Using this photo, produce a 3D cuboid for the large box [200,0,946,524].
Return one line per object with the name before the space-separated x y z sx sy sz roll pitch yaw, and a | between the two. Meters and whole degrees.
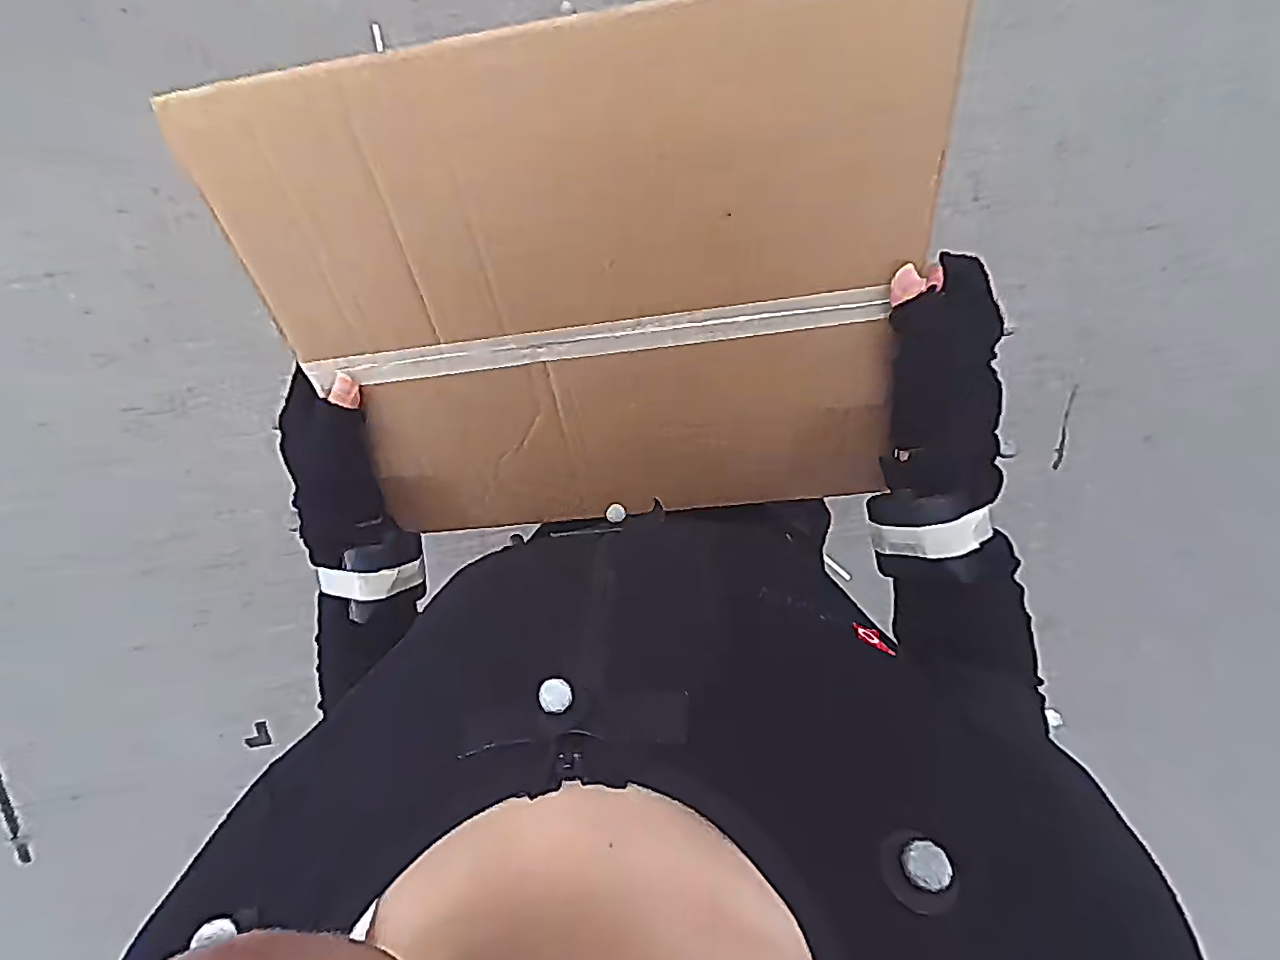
large box | -0.022 -0.192 0.480 0.408 0.320 0.320 -6 128 7
